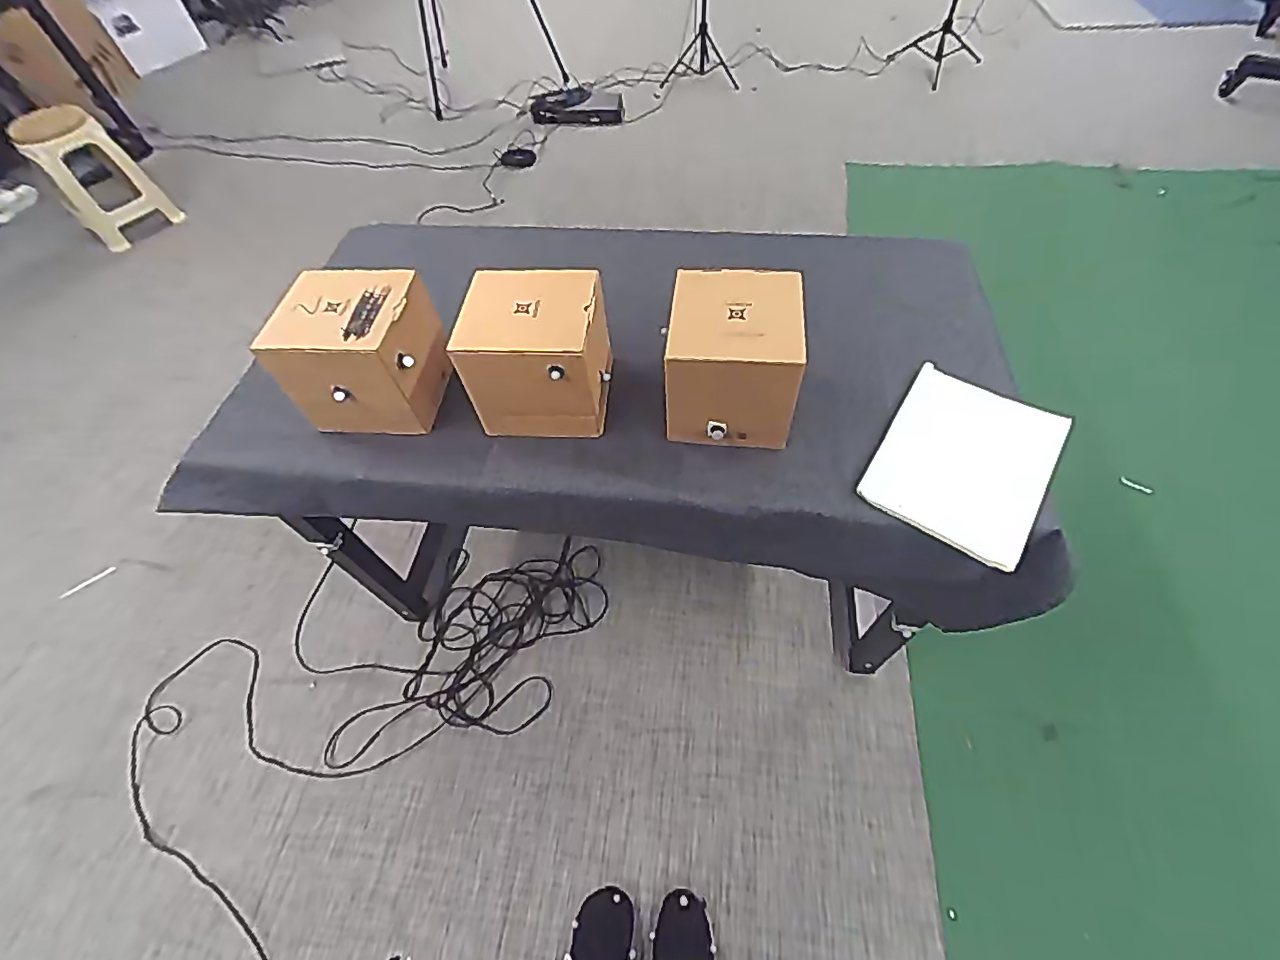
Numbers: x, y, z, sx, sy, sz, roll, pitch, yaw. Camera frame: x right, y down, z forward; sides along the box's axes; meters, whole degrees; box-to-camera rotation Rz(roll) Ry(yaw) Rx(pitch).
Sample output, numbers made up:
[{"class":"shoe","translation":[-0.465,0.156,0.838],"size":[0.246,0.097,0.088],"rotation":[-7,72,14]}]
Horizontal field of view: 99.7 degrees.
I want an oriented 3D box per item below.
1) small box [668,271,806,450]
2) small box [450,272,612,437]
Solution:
[{"class":"small box","translation":[0.128,-0.164,0.746],"size":[0.168,0.176,0.179],"rotation":[3,57,8]},{"class":"small box","translation":[-0.141,-0.175,0.774],"size":[0.179,0.176,0.168],"rotation":[1,55,4]}]
